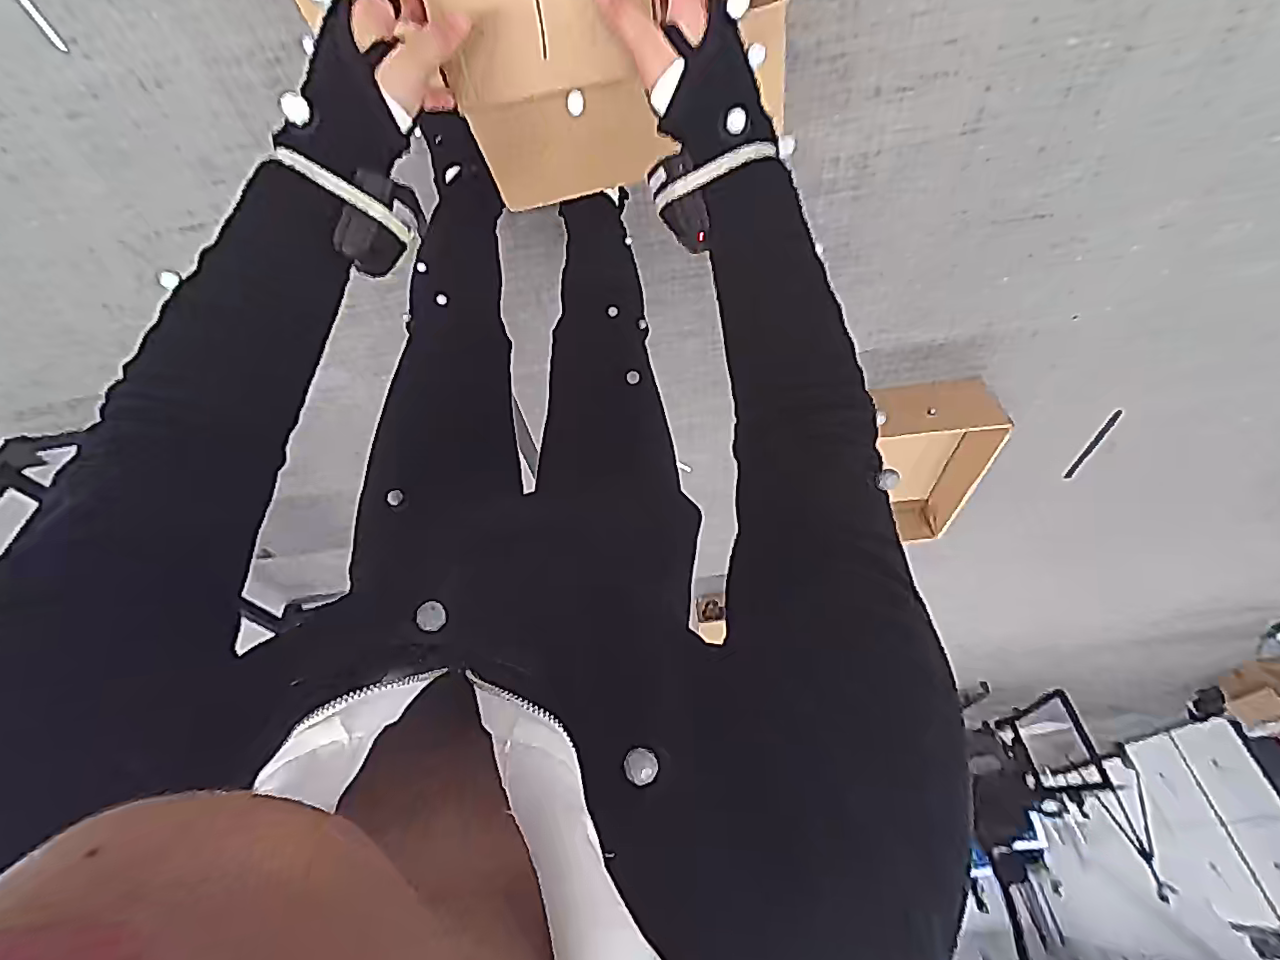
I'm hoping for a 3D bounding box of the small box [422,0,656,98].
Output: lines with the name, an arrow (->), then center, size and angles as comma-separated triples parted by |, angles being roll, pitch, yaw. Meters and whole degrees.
small box -> -0.079, -0.427, 0.433 | 0.168, 0.176, 0.179 | -6, 127, 8
